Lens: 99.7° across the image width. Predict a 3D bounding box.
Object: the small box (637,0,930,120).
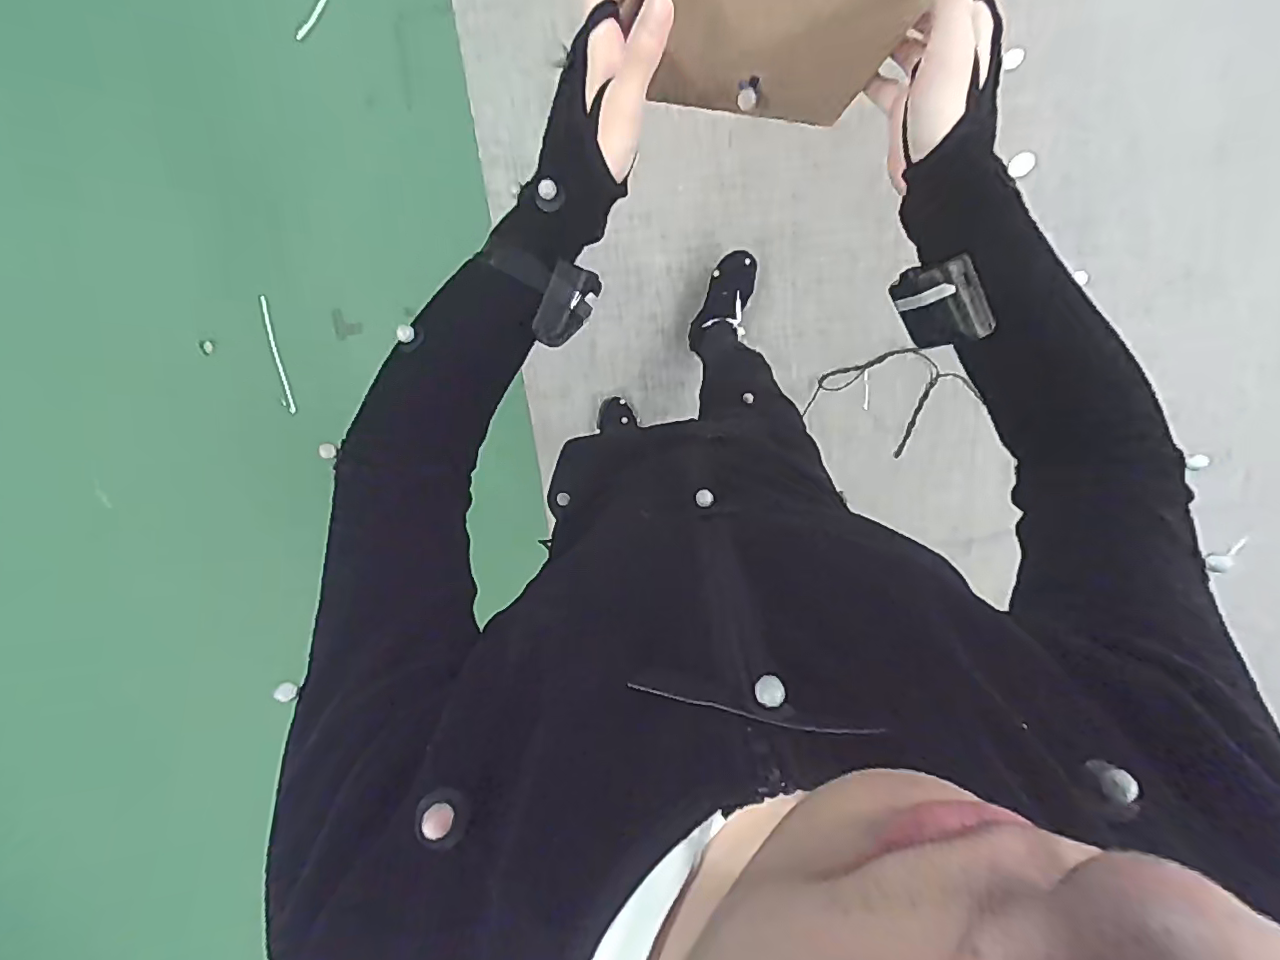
[{"bbox_3d":[0.099,-0.396,0.390,0.179,0.176,0.168,4,95,-6],"label":"small box"}]
